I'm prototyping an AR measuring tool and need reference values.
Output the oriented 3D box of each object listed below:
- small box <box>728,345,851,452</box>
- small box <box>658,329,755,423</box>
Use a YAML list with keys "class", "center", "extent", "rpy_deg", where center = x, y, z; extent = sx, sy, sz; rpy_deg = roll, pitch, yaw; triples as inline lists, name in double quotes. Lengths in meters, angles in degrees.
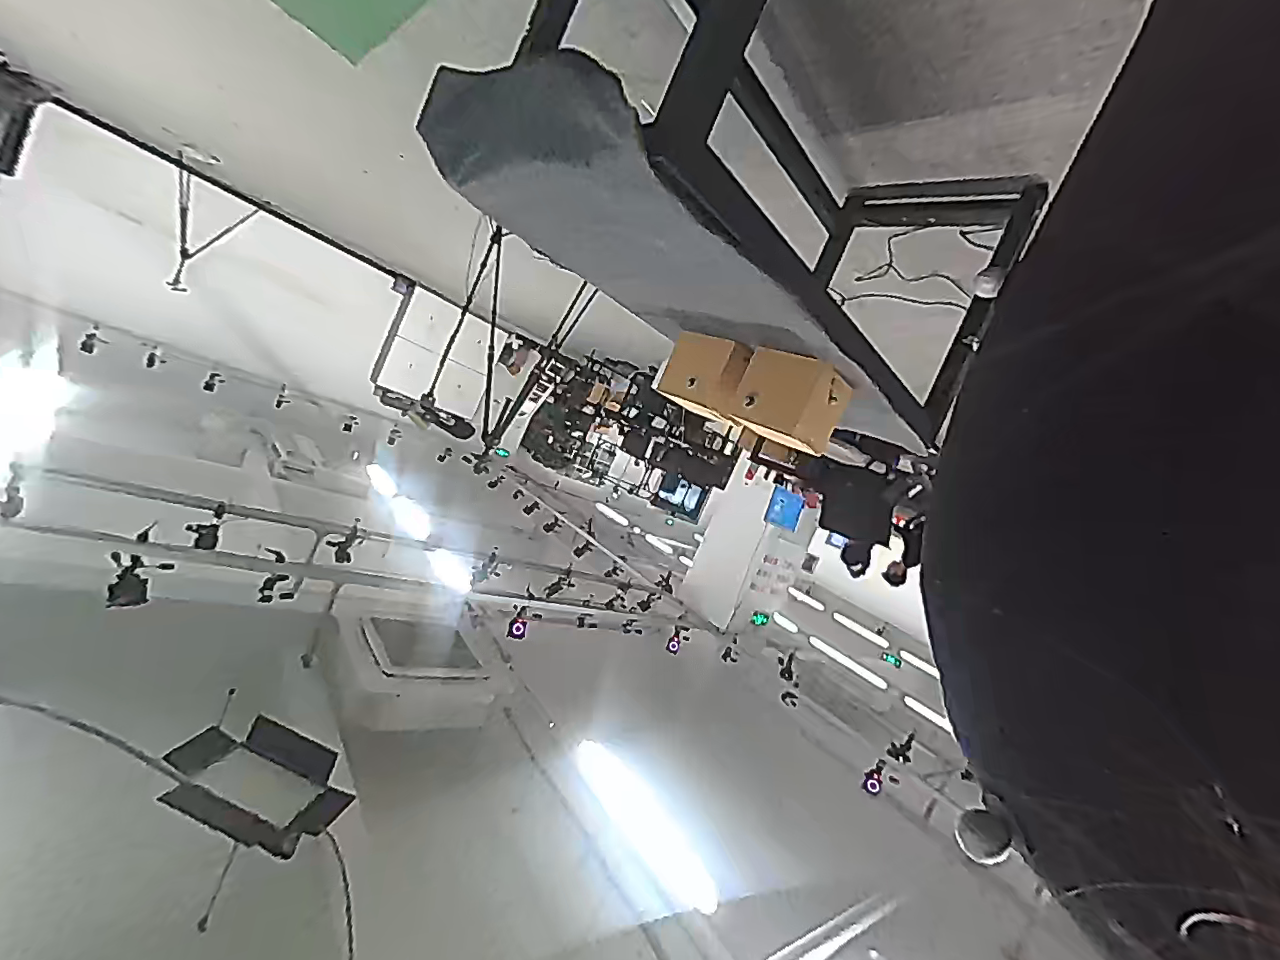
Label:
- class: "small box"
  center: [0.335, -0.184, 1.205]
  extent: [0.179, 0.176, 0.168]
  rpy_deg: [27, -175, 41]
- class: "small box"
  center: [0.181, -0.262, 1.355]
  extent: [0.179, 0.176, 0.168]
  rpy_deg: [26, -175, 41]
